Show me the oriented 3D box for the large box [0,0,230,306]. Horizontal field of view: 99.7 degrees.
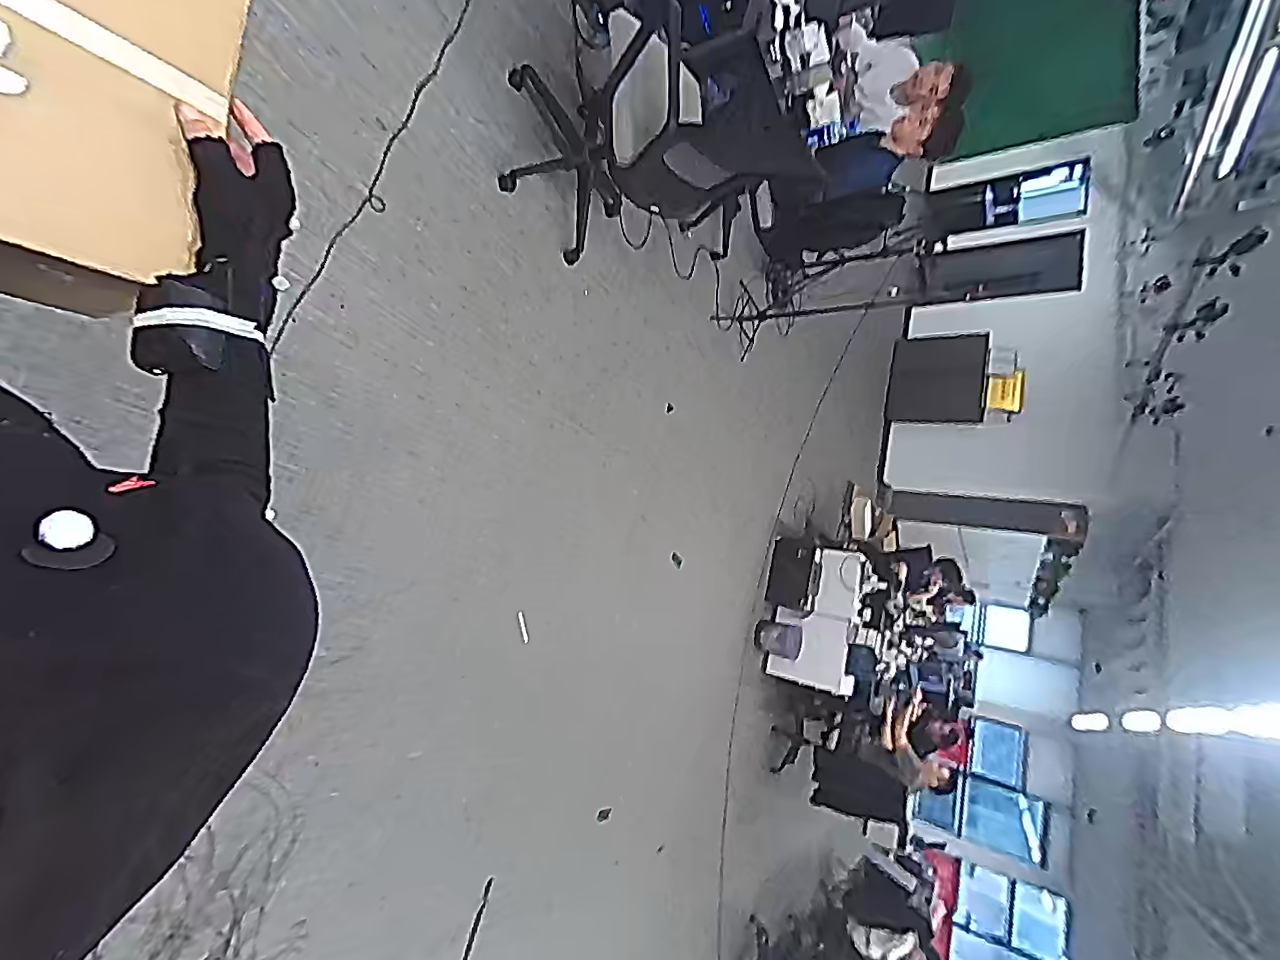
[{"bbox_3d":[-0.594,-0.347,0.376,0.408,0.320,0.320,10,89,-56],"label":"large box"}]
